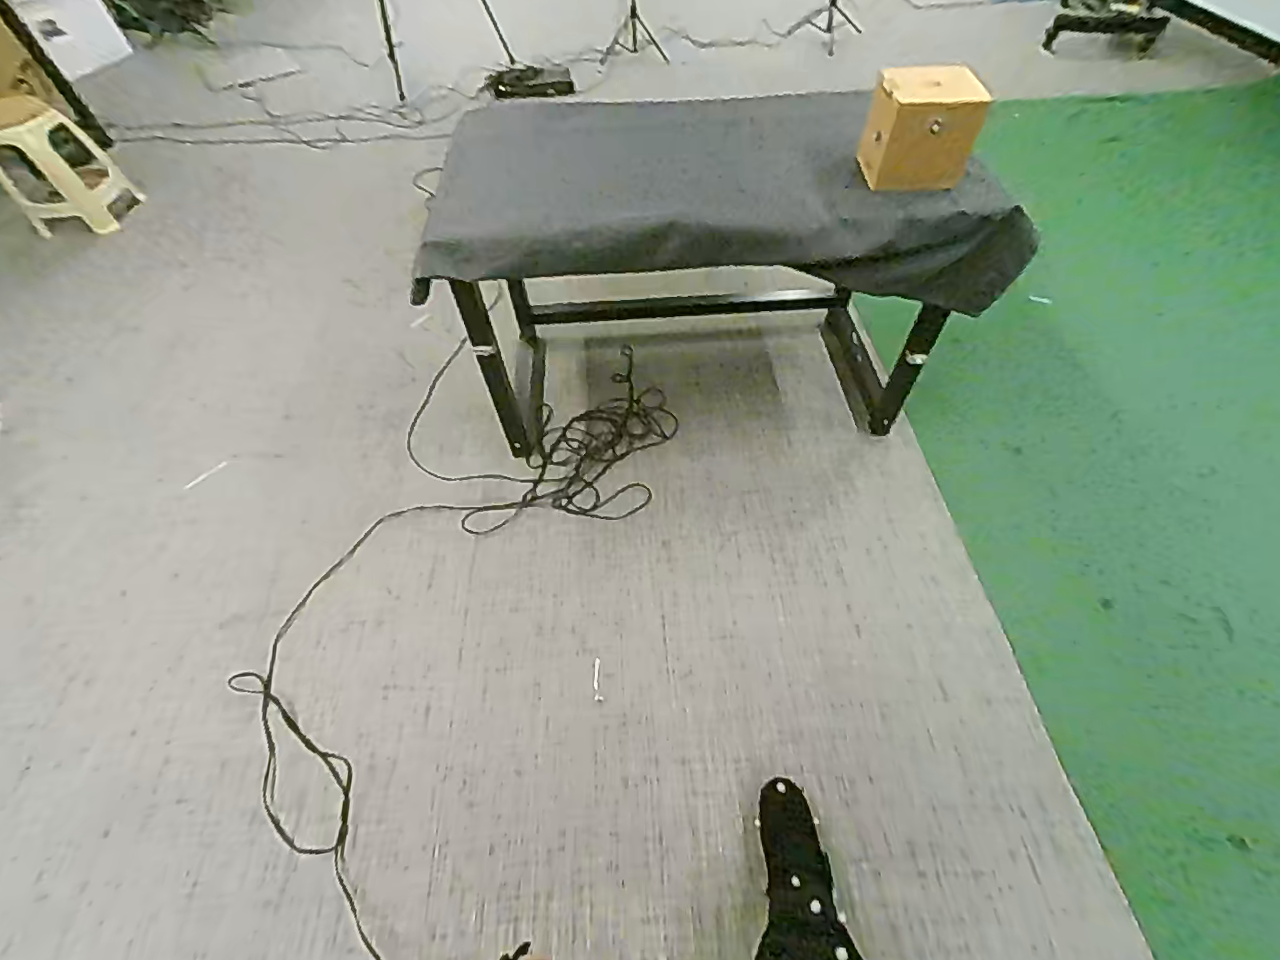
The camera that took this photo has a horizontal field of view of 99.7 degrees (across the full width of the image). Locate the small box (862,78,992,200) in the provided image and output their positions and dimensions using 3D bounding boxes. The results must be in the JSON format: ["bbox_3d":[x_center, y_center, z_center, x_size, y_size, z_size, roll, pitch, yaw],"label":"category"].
[{"bbox_3d":[0.577,-0.703,1.121,0.179,0.176,0.168,1,55,3],"label":"small box"}]
